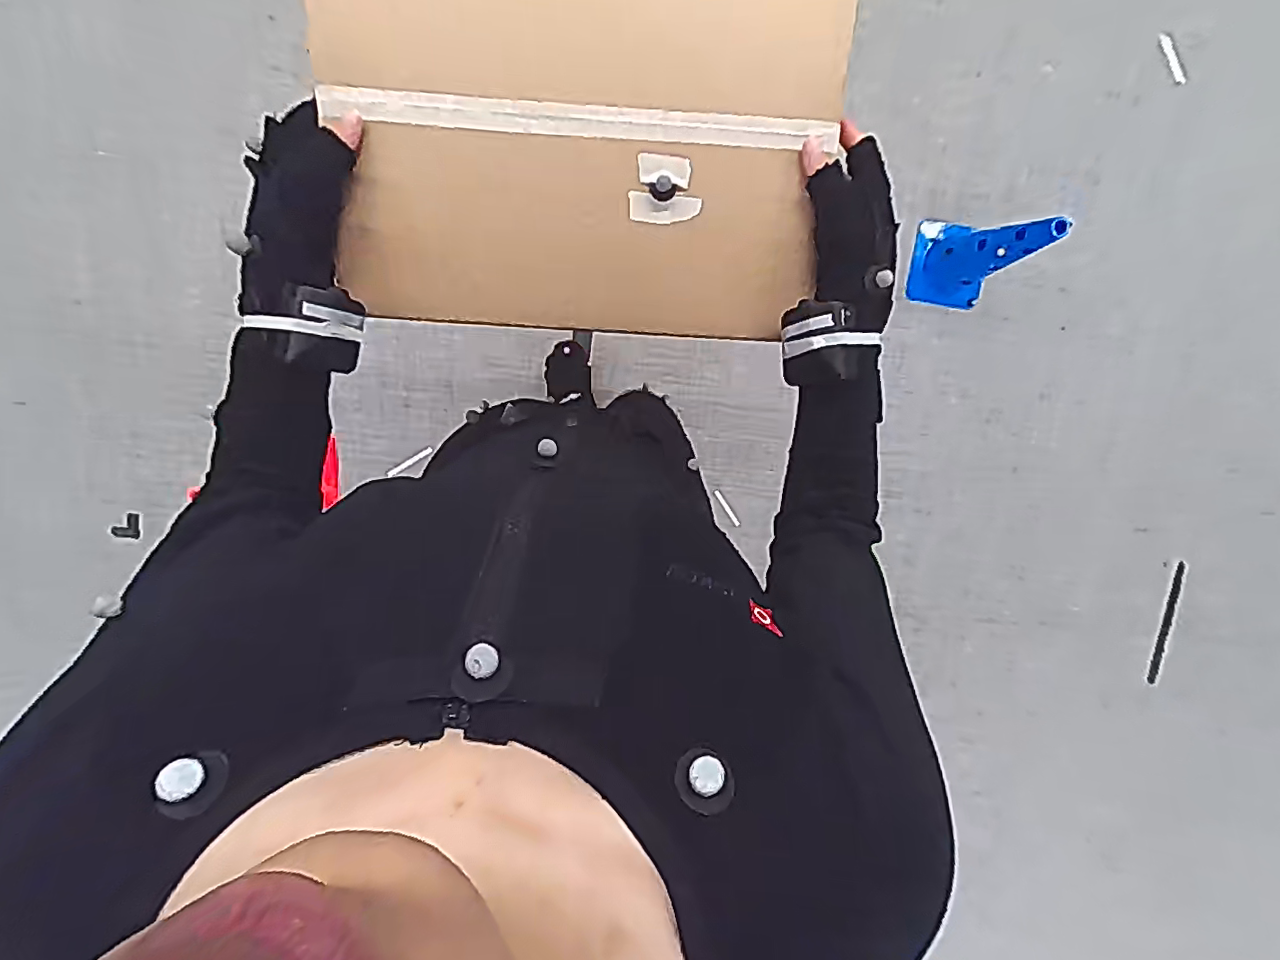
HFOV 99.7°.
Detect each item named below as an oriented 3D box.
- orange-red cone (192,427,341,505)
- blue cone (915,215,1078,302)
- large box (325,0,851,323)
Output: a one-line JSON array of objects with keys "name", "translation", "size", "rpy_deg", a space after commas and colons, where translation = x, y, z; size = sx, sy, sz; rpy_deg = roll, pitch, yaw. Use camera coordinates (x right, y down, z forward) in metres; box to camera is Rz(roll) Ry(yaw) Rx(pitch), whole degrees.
[{"name": "orange-red cone", "translation": [-0.875, -0.001, 1.242], "size": [0.198, 0.360, 0.199], "rpy_deg": [4, 102, -3]}, {"name": "blue cone", "translation": [0.831, -0.542, 1.253], "size": [0.192, 0.380, 0.193], "rpy_deg": [9, 100, -6]}, {"name": "large box", "translation": [-0.047, -0.337, 0.570], "size": [0.408, 0.320, 0.320], "rpy_deg": [3, 108, -3]}]
